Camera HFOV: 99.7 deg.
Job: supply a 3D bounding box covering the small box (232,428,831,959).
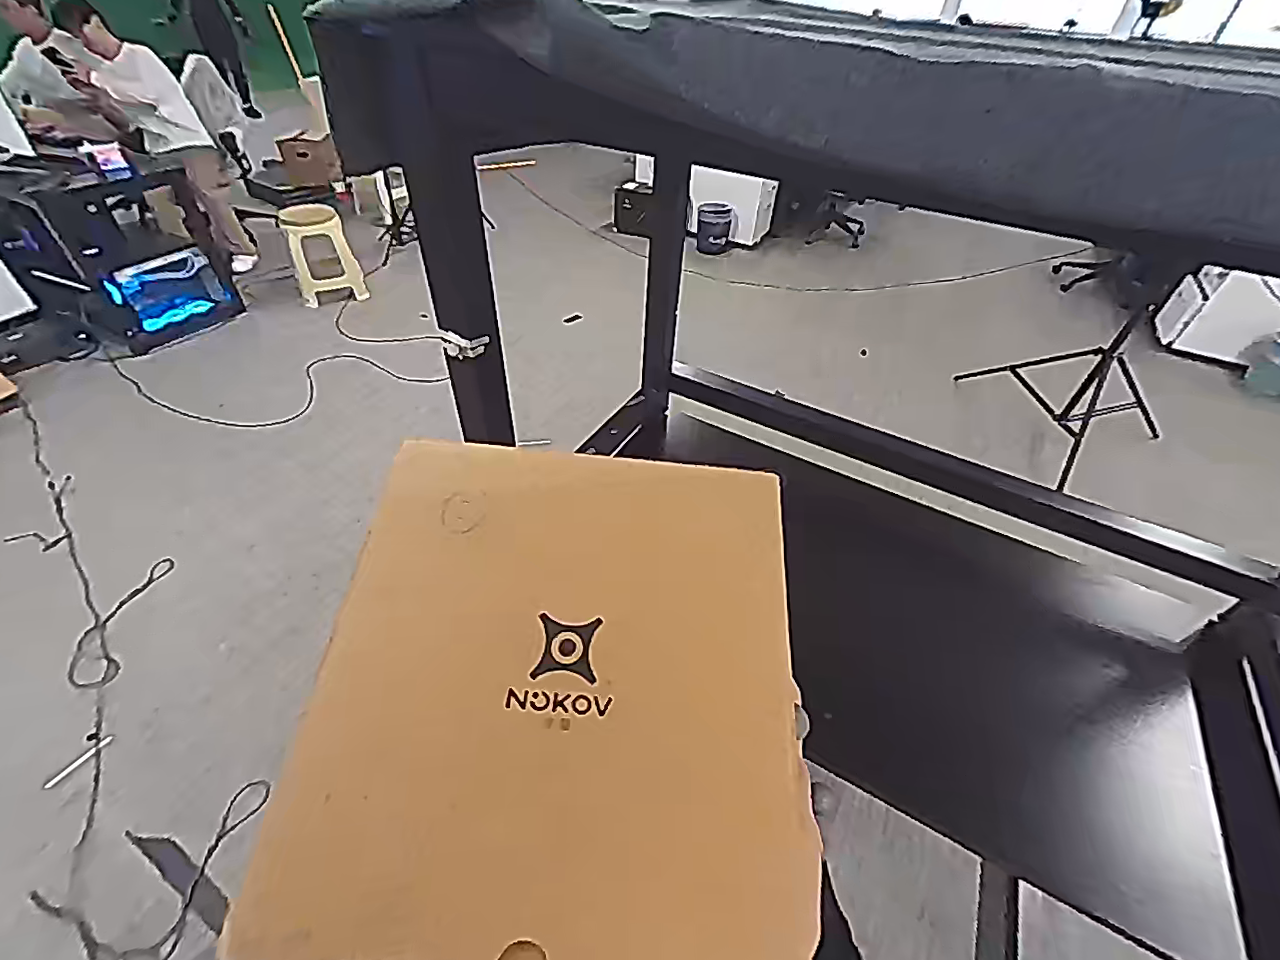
[{"bbox_3d":[-0.029,0.100,0.256,0.168,0.176,0.179,5,60,-2],"label":"small box"}]
